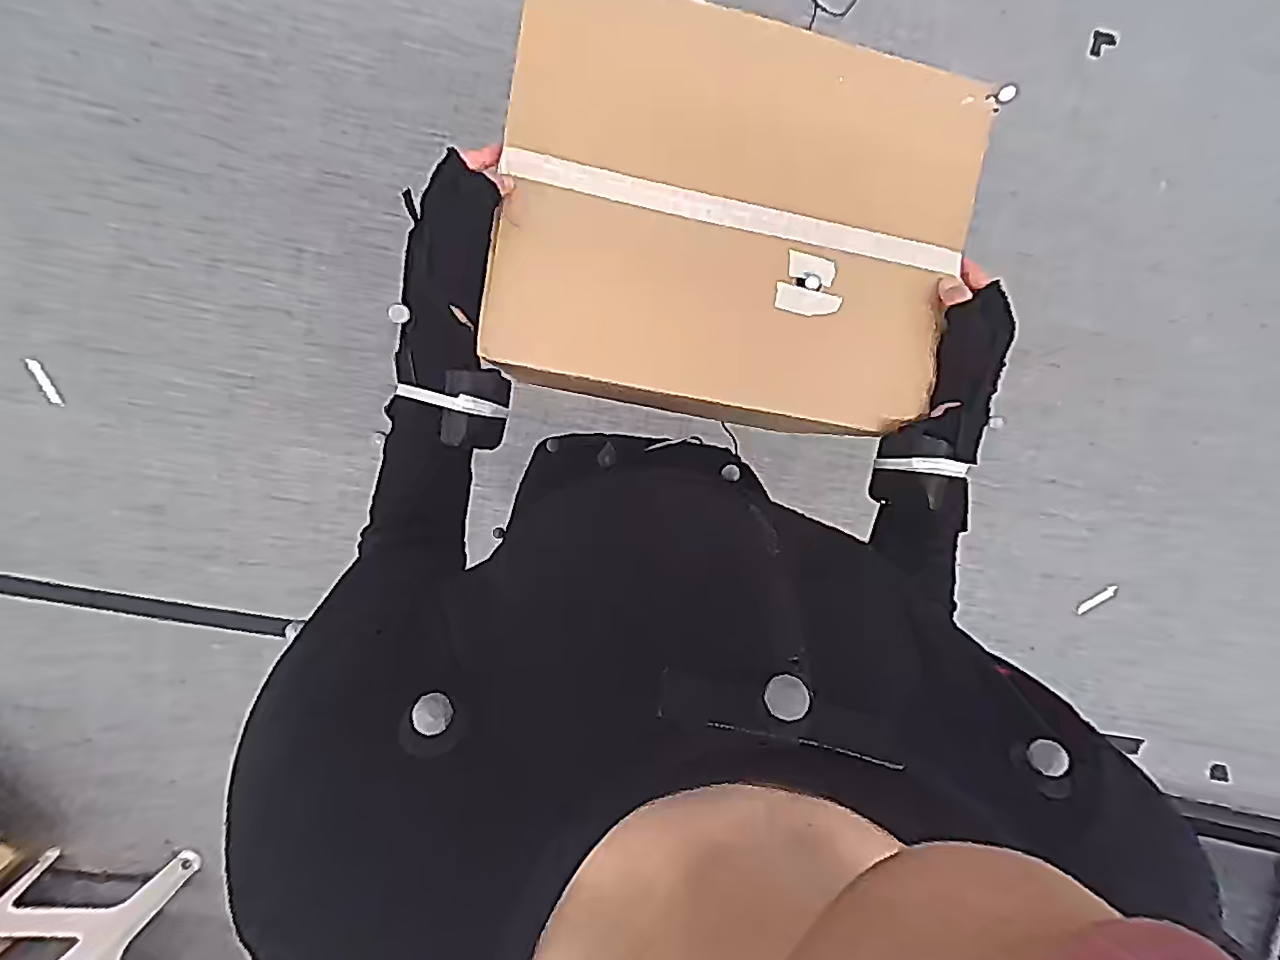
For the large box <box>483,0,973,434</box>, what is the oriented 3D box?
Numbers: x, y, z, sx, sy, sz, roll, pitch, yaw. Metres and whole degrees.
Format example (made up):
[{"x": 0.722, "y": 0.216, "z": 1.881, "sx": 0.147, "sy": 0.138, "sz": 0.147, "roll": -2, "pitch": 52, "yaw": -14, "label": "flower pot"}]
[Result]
[{"x": 0.062, "y": -0.238, "z": 0.617, "sx": 0.408, "sy": 0.320, "sz": 0.320, "roll": 9, "pitch": 96, "yaw": -9, "label": "large box"}]
